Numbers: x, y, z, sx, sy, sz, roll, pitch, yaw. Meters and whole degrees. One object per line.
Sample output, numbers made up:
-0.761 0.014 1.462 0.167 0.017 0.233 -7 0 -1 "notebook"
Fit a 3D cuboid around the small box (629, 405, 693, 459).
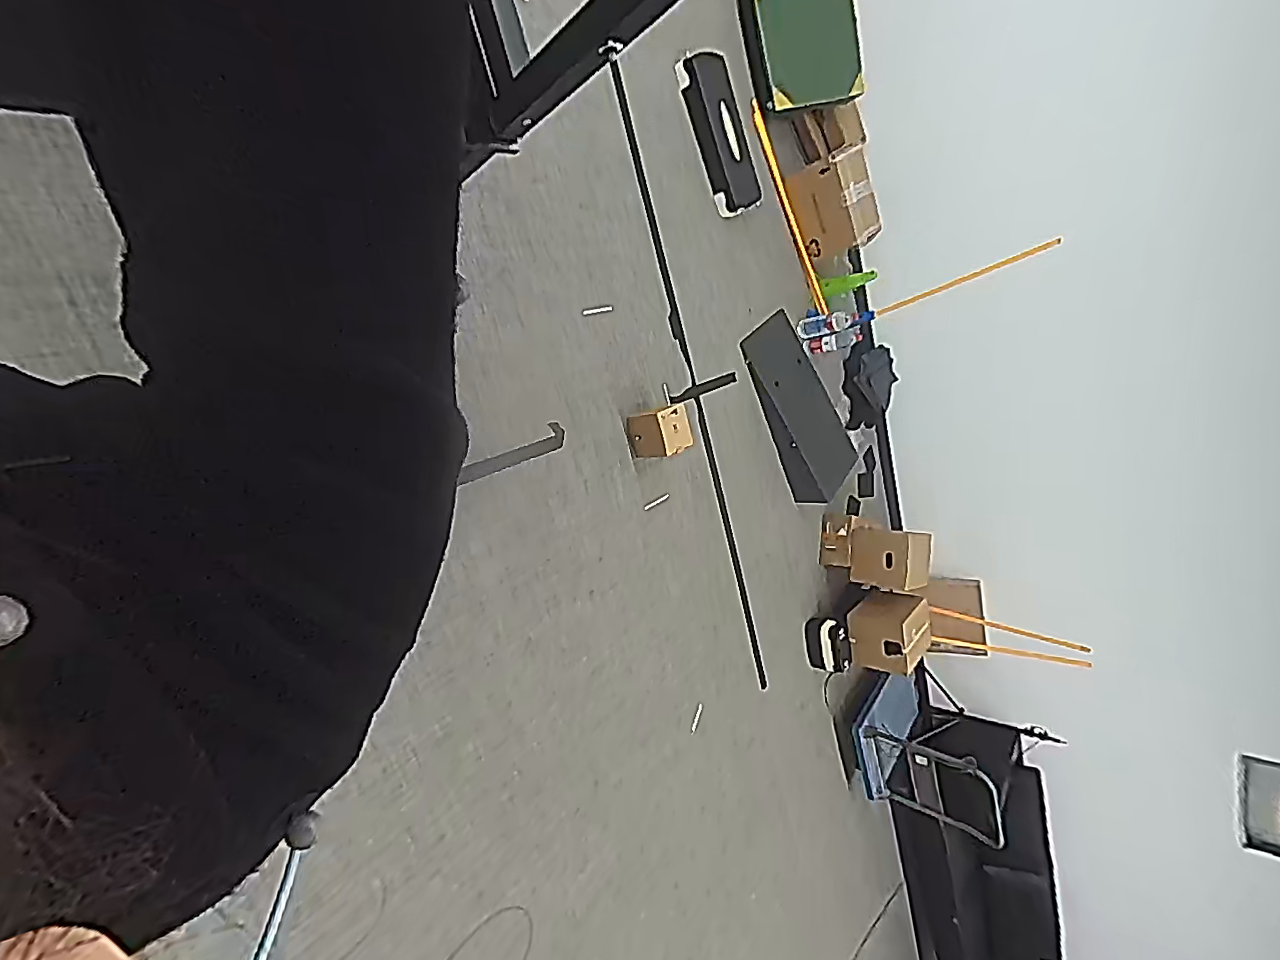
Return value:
0.081 -0.190 2.151 0.168 0.176 0.179 -27 109 -42 "small box"
